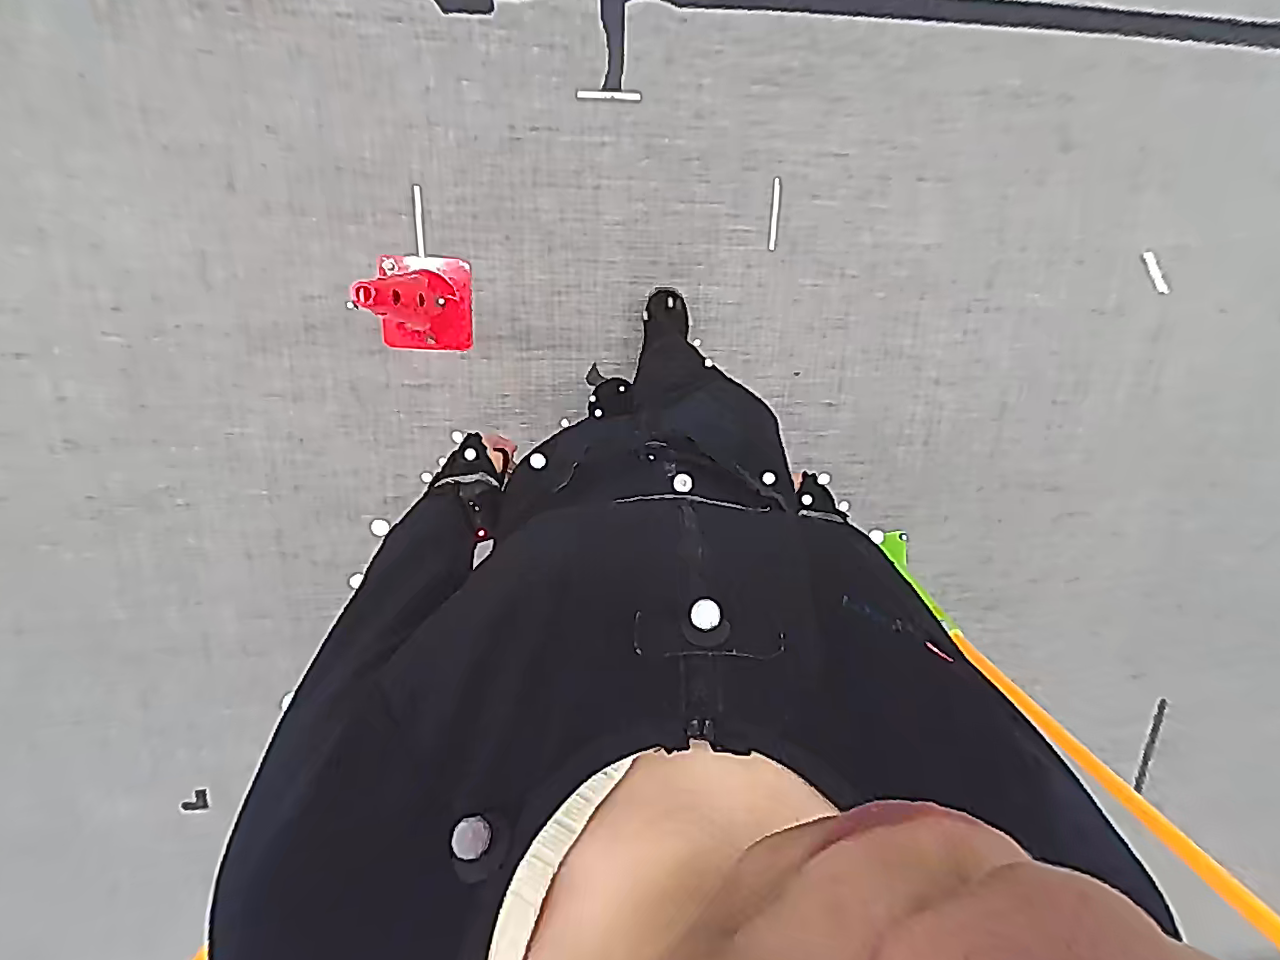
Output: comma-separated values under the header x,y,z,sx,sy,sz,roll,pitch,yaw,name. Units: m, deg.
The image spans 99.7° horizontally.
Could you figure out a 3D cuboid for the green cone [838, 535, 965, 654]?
x,y,z,sx,sy,sz,roll,pitch,yaw,name
0.665,0.305,1.342,0.200,0.368,0.202,-10,108,-3,green cone
